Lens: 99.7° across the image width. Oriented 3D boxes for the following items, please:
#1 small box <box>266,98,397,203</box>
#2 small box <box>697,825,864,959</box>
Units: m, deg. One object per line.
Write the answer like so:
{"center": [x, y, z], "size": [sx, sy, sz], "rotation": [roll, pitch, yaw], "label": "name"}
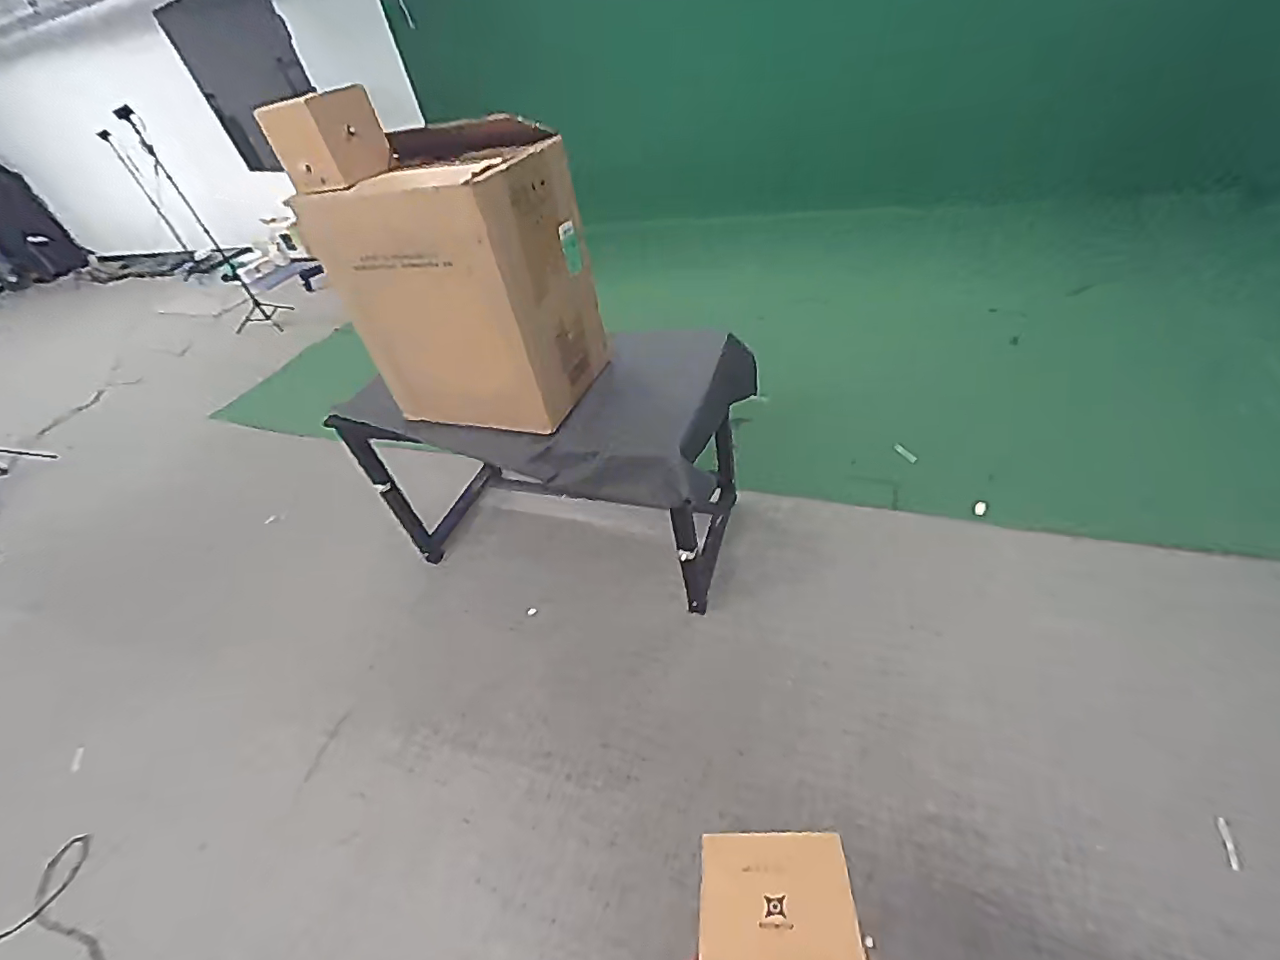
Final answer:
{"center": [-0.696, -0.757, 1.249], "size": [0.168, 0.176, 0.179], "rotation": [7, 45, 23], "label": "small box"}
{"center": [0.161, 0.529, 0.609], "size": [0.168, 0.176, 0.179], "rotation": [-8, 19, 11], "label": "small box"}
